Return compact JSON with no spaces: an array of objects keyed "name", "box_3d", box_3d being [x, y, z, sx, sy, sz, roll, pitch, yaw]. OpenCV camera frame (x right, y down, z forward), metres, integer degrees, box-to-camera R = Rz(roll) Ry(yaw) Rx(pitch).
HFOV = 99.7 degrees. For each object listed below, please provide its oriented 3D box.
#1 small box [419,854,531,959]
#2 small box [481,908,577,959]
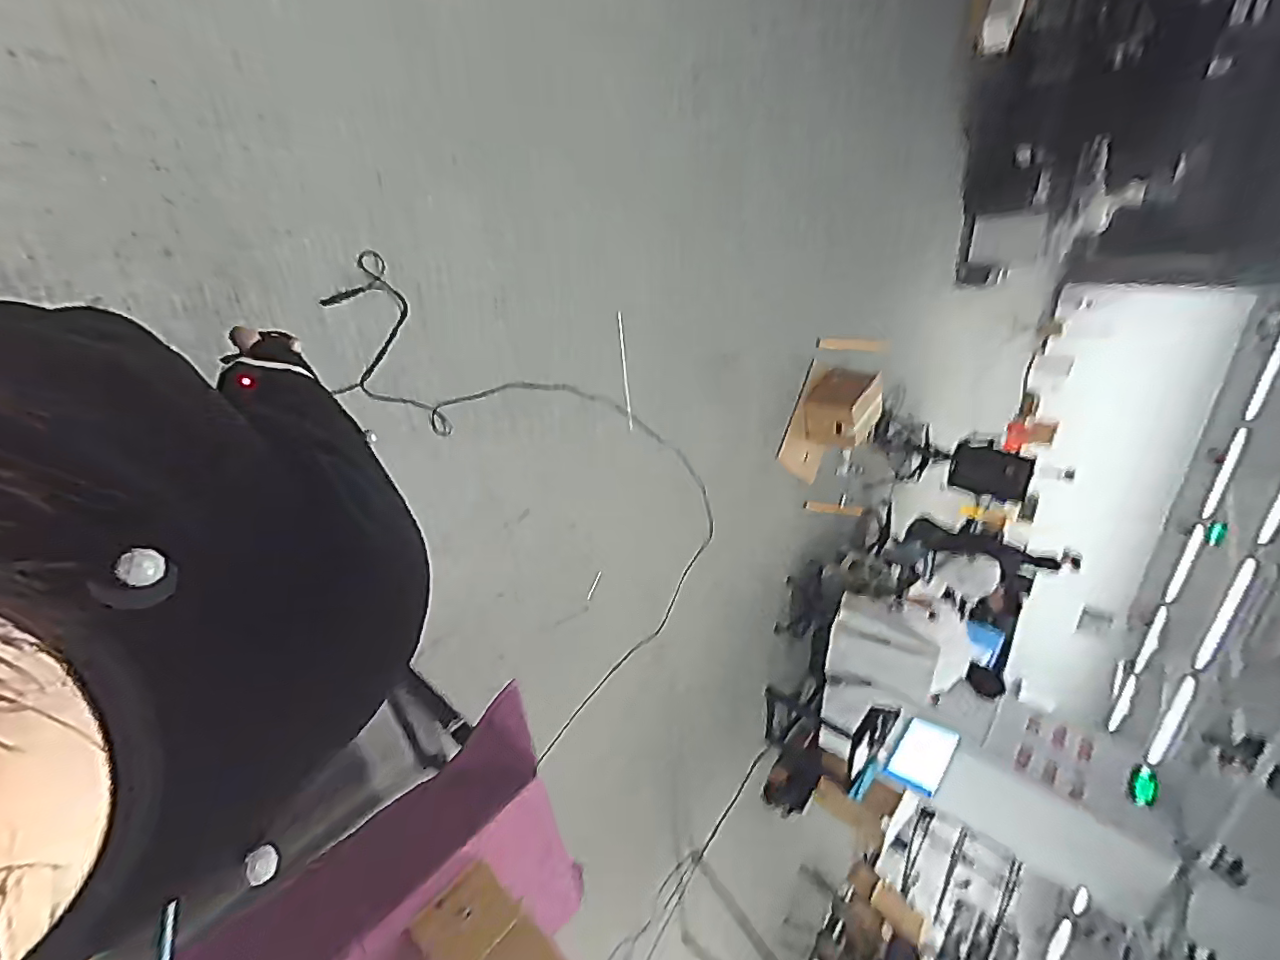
[{"name":"small box","box_3d":[-0.324,0.919,1.107,0.168,0.176,0.179,-32,127,-37]},{"name":"small box","box_3d":[-0.203,0.960,1.003,0.179,0.176,0.168,-32,127,-36]}]
